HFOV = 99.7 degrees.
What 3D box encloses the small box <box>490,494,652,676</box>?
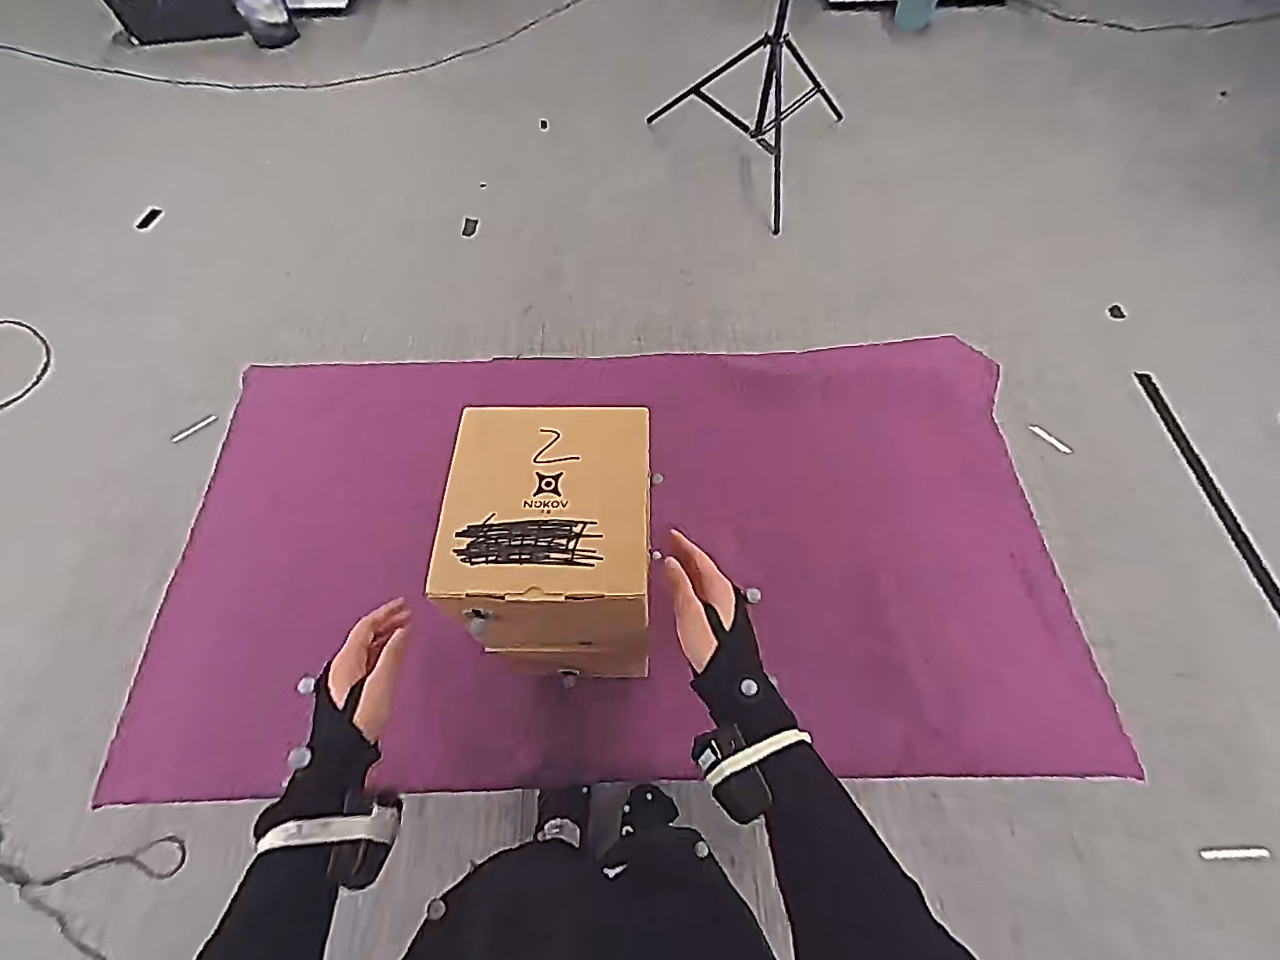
[{"bbox_3d":[-0.070,0.131,0.653,0.168,0.176,0.179,0,62,1],"label":"small box"}]
